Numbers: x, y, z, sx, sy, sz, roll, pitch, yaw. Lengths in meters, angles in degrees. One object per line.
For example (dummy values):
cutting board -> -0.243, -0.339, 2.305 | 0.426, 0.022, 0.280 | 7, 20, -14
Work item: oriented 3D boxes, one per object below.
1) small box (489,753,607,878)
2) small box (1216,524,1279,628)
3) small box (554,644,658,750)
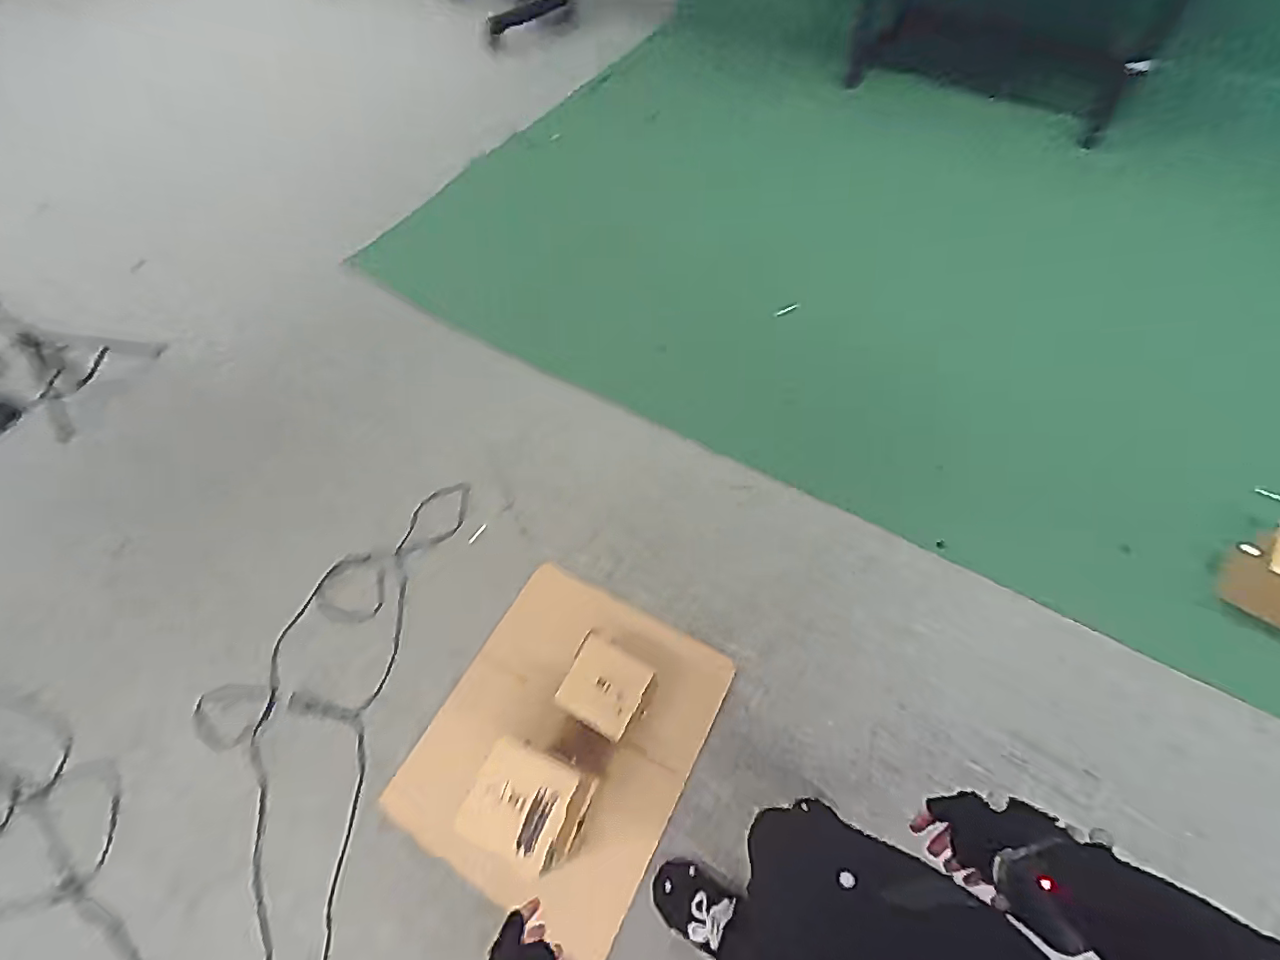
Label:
small box -> -0.185, 0.709, 1.157 | 0.179, 0.176, 0.168 | 19, 62, 16
small box -> 1.586, 0.243, 1.320 | 0.179, 0.176, 0.168 | 33, 66, 22
small box -> -0.072, 0.515, 1.270 | 0.179, 0.176, 0.168 | 23, 65, 17
